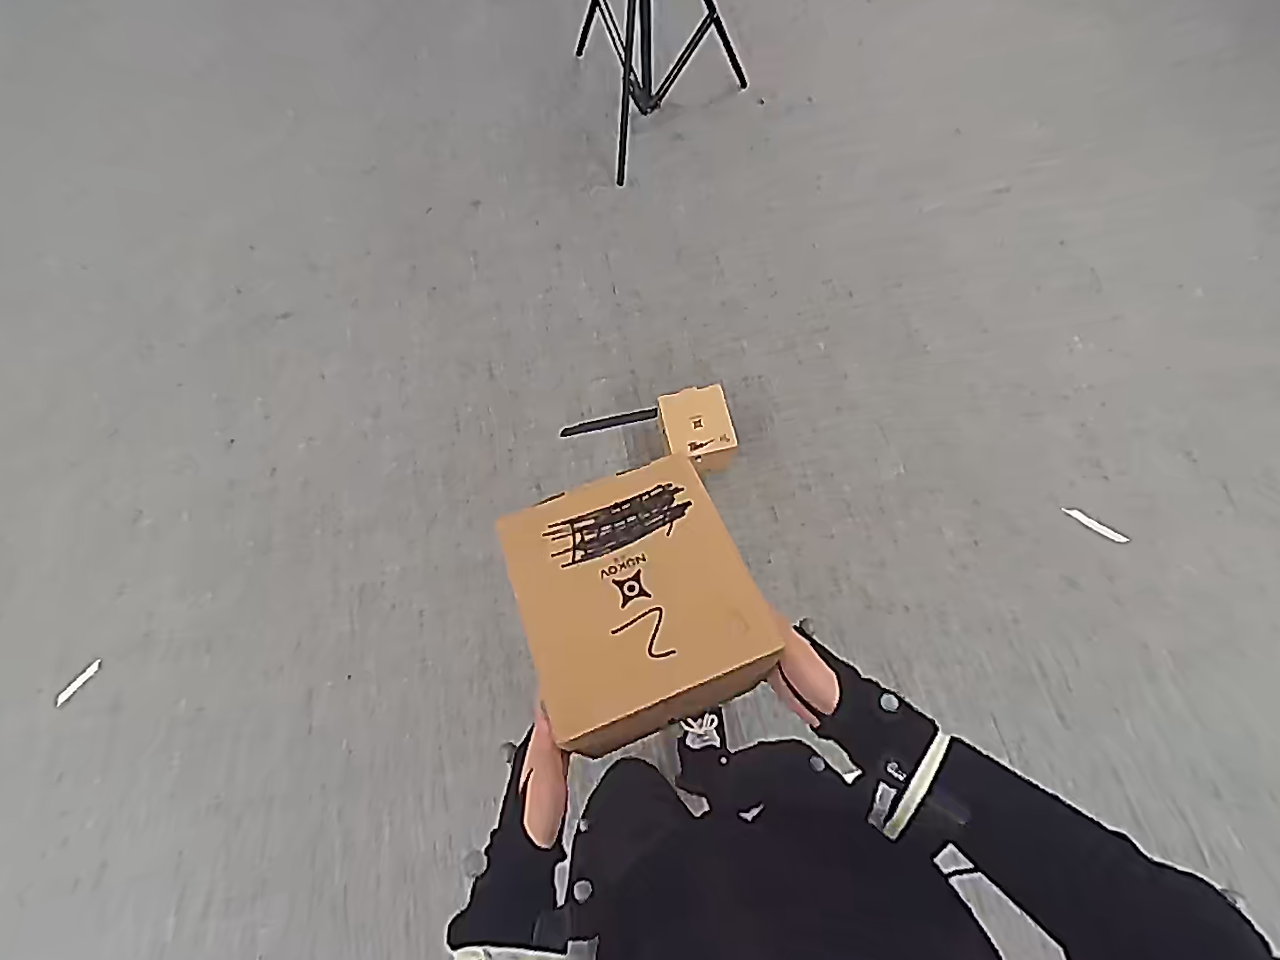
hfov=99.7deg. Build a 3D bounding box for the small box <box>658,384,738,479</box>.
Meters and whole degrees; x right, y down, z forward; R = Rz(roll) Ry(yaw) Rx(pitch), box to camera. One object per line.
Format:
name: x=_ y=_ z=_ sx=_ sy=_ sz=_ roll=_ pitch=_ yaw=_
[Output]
small box: x=0.144 y=-0.121 z=1.409 sx=0.168 sy=0.176 sz=0.179 roll=-13 pitch=72 yaw=-2
